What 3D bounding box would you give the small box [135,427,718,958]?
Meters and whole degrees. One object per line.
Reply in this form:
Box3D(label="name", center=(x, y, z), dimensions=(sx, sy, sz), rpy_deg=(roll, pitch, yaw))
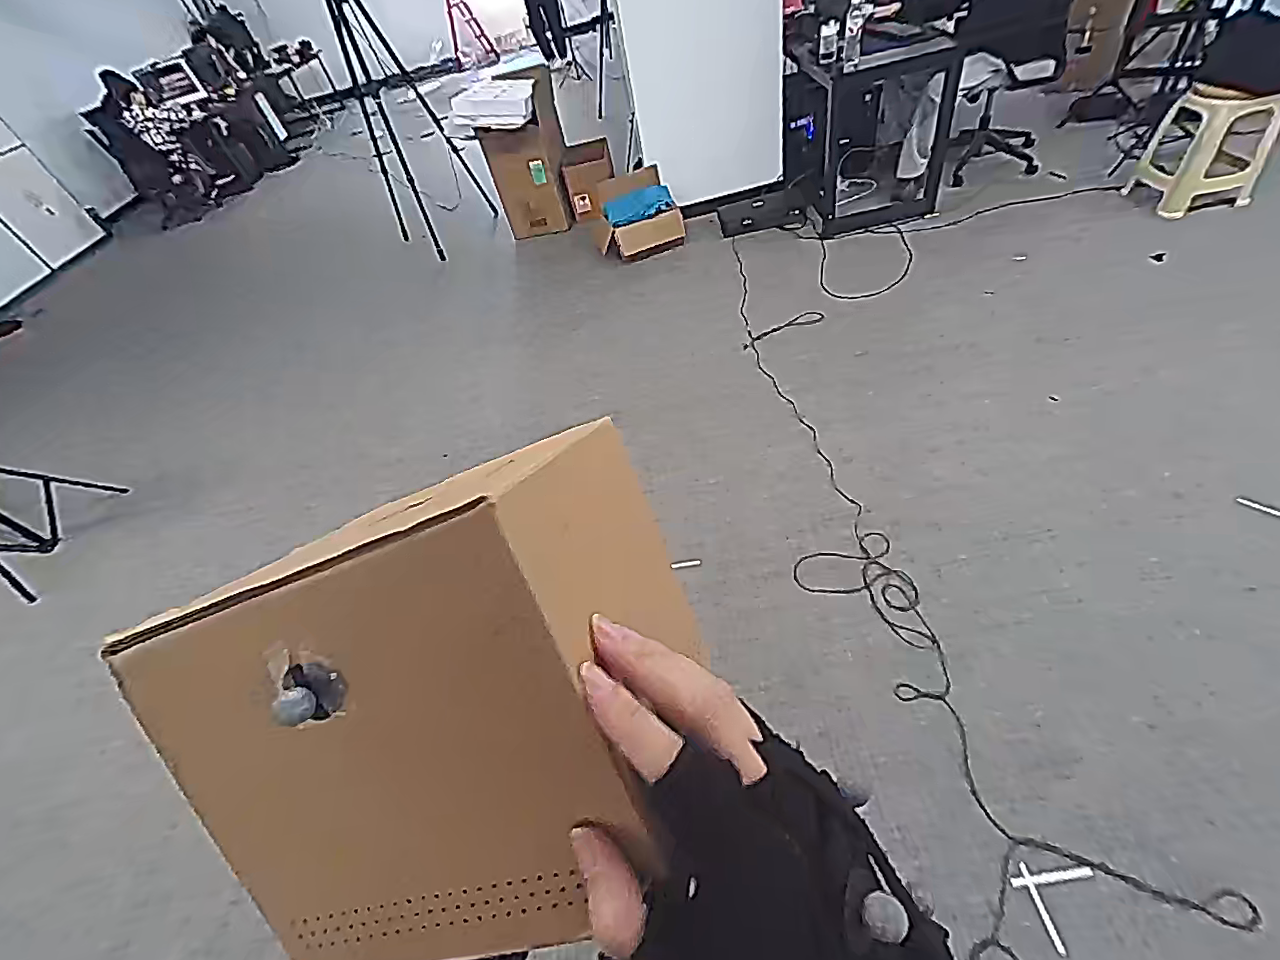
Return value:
Box3D(label="small box", center=(-0.074, 0.092, 0.274), dimensions=(0.179, 0.176, 0.168), rpy_deg=(-20, 11, 13))
